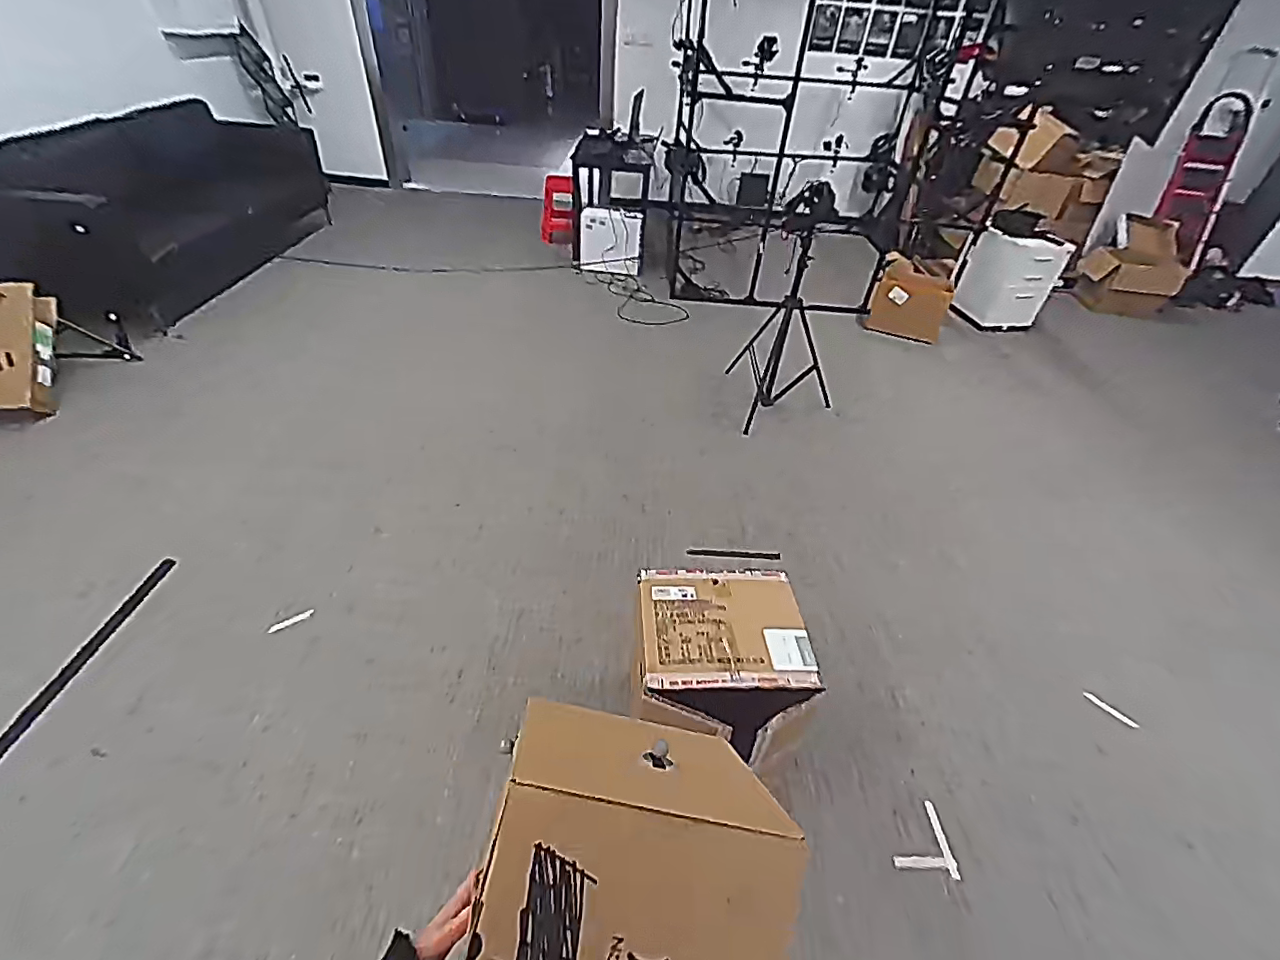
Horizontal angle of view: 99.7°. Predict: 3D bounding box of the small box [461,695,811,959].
[{"bbox_3d":[-0.013,0.261,0.368,0.179,0.176,0.168,14,81,-6],"label":"small box"}]
